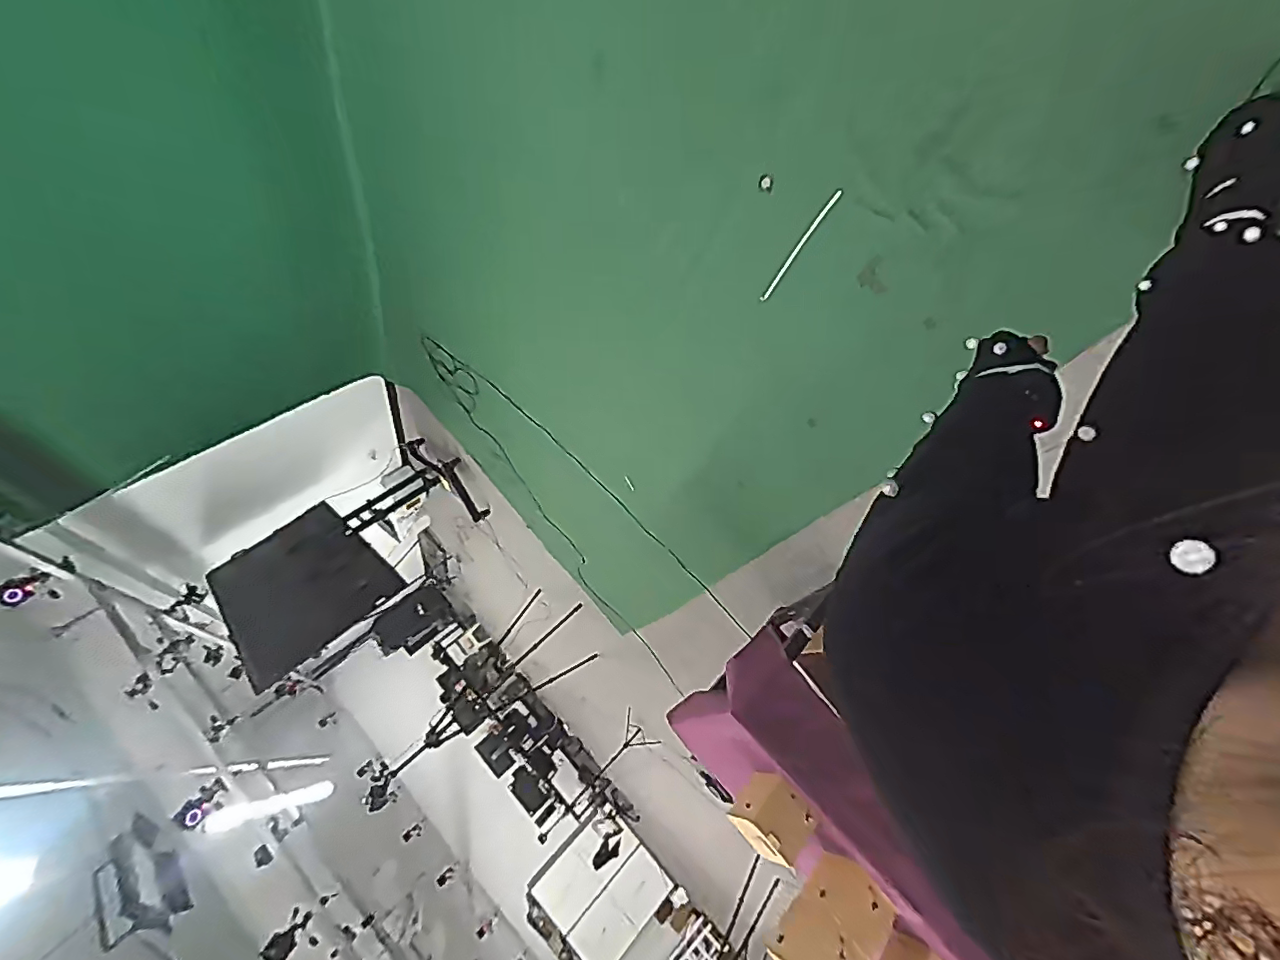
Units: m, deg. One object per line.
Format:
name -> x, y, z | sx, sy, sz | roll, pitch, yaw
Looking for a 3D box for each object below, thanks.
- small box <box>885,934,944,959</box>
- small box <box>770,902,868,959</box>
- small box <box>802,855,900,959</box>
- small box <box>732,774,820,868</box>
small box -> 0.828, 1.488, 1.568 | 0.179, 0.176, 0.168 | 48, 150, 7
small box -> 0.514, 1.358, 1.541 | 0.168, 0.176, 0.179 | 51, 150, 2
small box -> 0.631, 1.269, 1.615 | 0.168, 0.176, 0.179 | 50, 150, 3
small box -> 0.420, 1.030, 1.649 | 0.168, 0.176, 0.179 | 48, 151, 8
